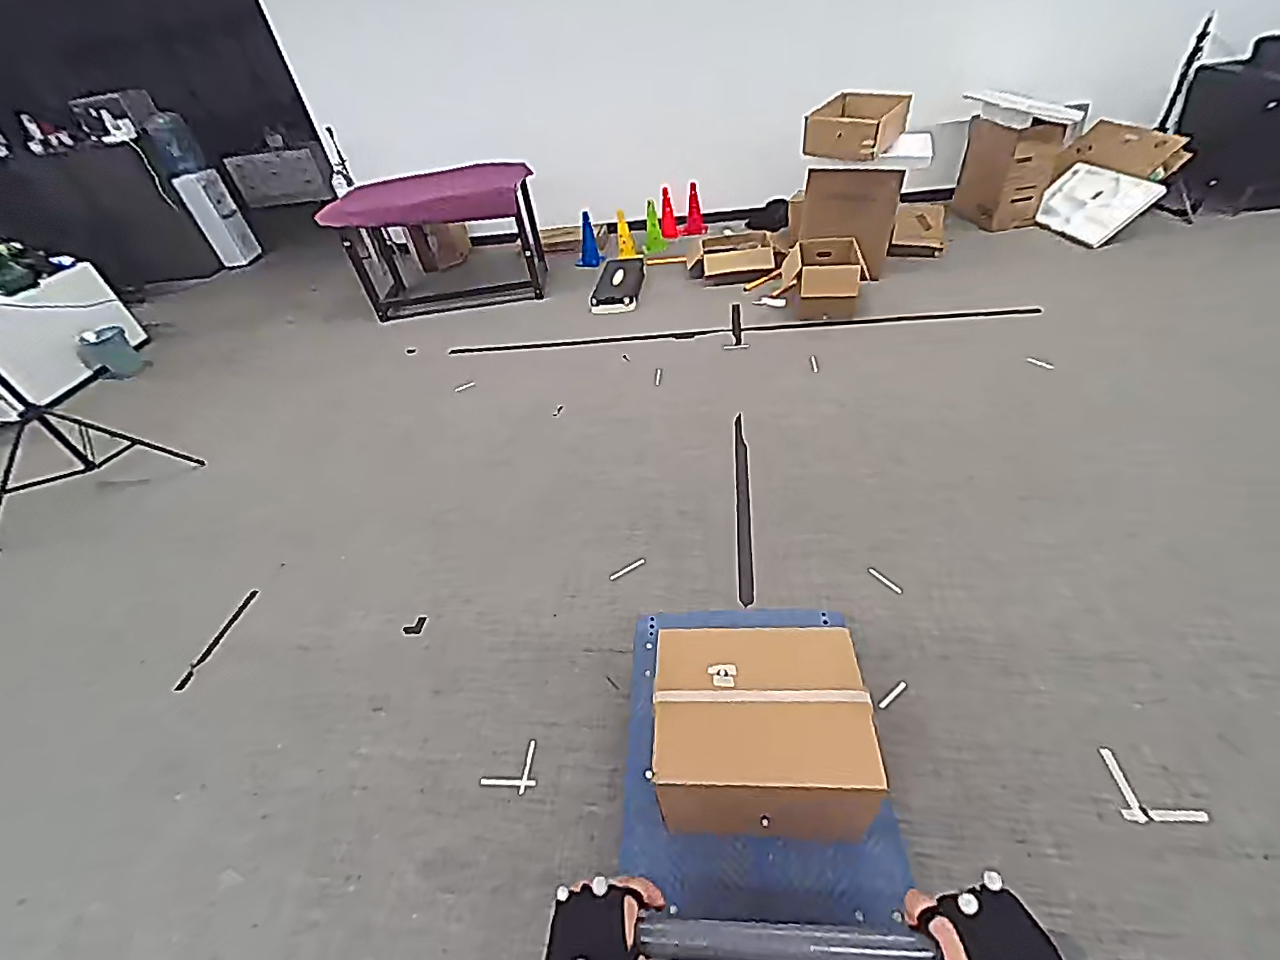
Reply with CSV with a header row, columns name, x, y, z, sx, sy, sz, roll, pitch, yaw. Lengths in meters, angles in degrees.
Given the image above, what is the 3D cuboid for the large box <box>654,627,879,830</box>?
name,x,y,z,sx,sy,sz,roll,pitch,yaw
large box,0.251,0.542,1.171,0.408,0.320,0.320,-4,42,8
